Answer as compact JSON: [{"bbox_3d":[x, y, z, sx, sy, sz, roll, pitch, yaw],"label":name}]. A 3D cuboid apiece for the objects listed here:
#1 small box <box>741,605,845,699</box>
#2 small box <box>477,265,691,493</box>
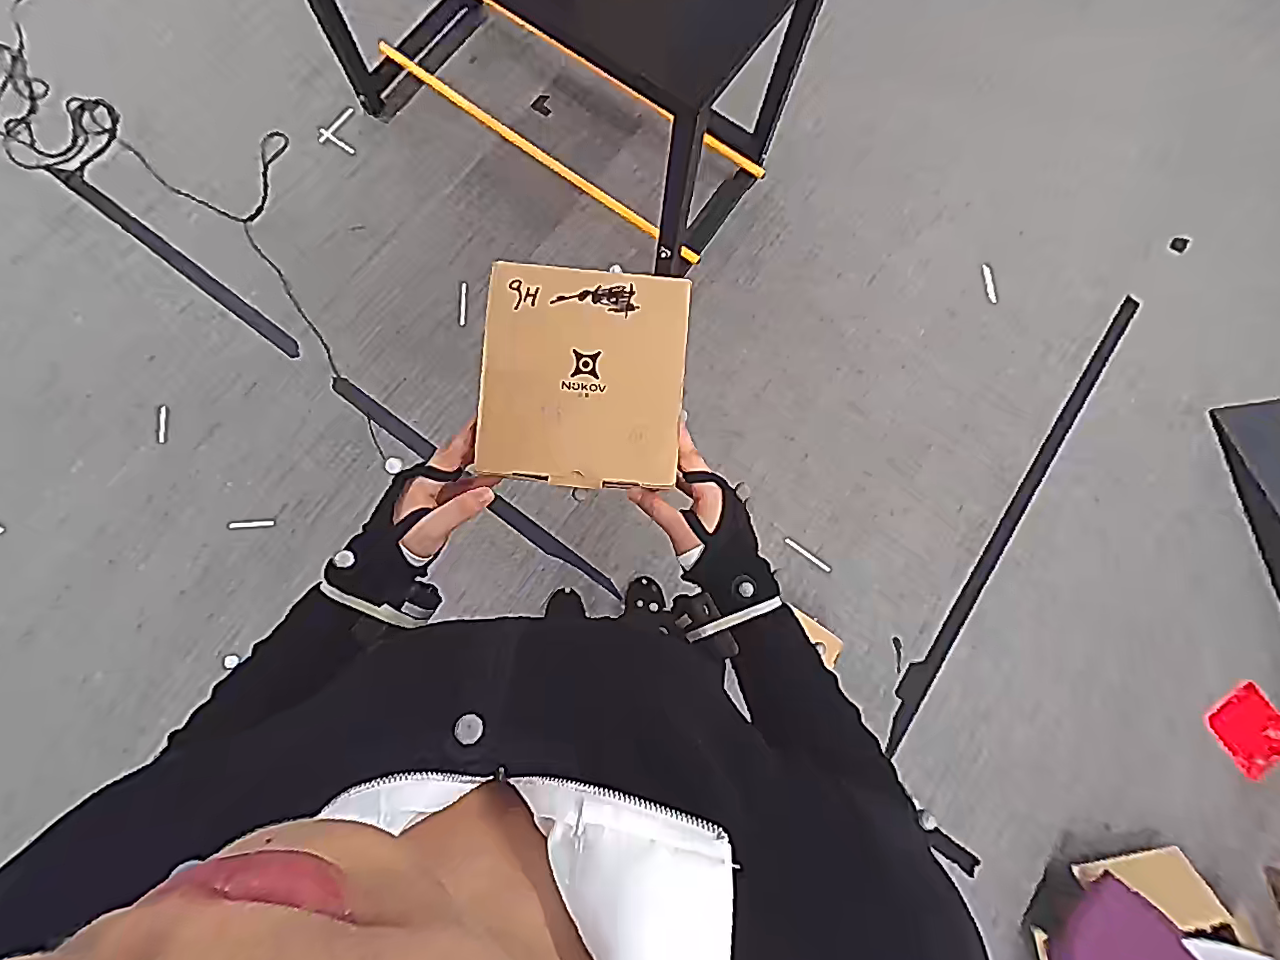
[{"bbox_3d":[0.393,0.440,1.417,0.179,0.176,0.168,34,78,5],"label":"small box"},{"bbox_3d":[-0.048,-0.082,0.518,0.168,0.176,0.179,4,89,-3],"label":"small box"}]
